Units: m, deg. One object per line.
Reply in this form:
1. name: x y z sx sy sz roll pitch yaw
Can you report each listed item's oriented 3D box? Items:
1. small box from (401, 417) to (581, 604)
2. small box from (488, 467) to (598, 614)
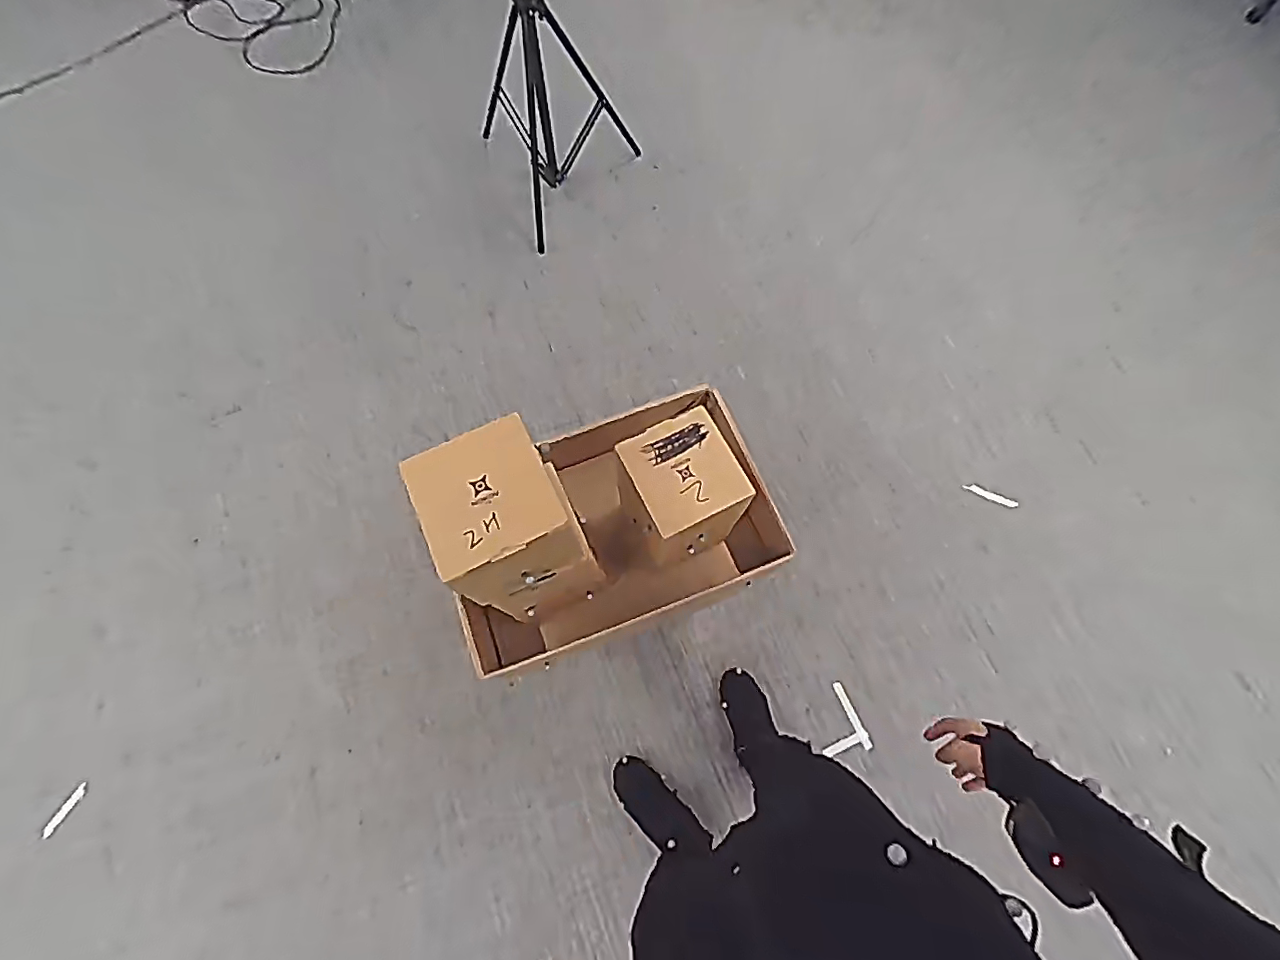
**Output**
1. small box: -0.194 0.049 0.742 0.168 0.176 0.179 -25 70 -9
2. small box: -0.178 0.109 0.896 0.168 0.176 0.179 -24 70 -8
